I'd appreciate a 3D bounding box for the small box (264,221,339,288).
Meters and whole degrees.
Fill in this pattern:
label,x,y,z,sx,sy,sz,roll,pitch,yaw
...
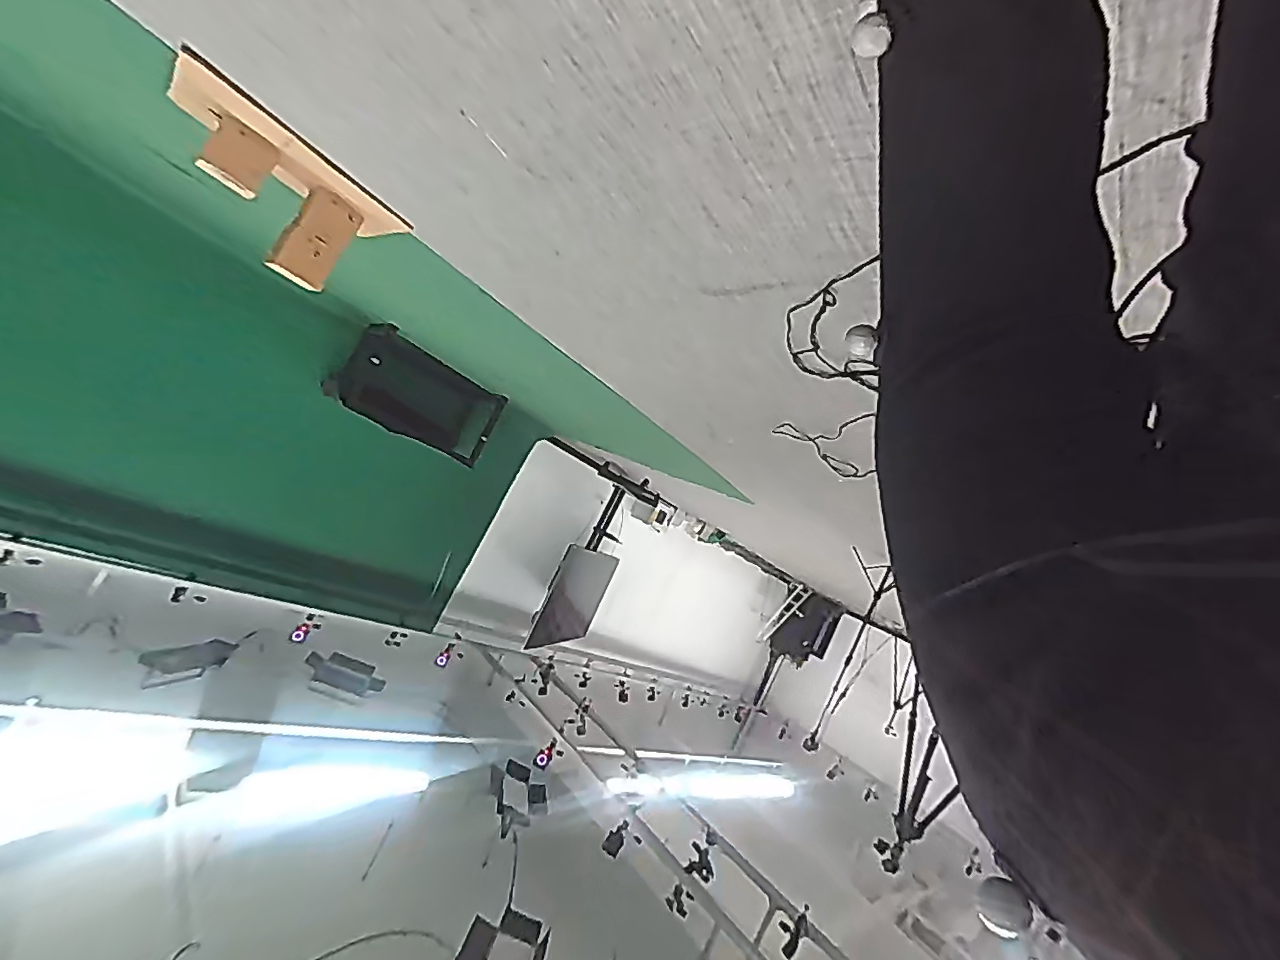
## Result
label,x,y,z,sx,sy,sz,roll,pitch,yaw
small box,-1.276,-0.854,2.044,0.179,0.176,0.168,22,173,42

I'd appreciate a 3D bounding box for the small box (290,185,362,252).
label,x,y,z,sx,sy,sz,roll,pitch,yaw
small box,-1.190,-0.992,2.054,0.179,0.176,0.168,24,174,43
